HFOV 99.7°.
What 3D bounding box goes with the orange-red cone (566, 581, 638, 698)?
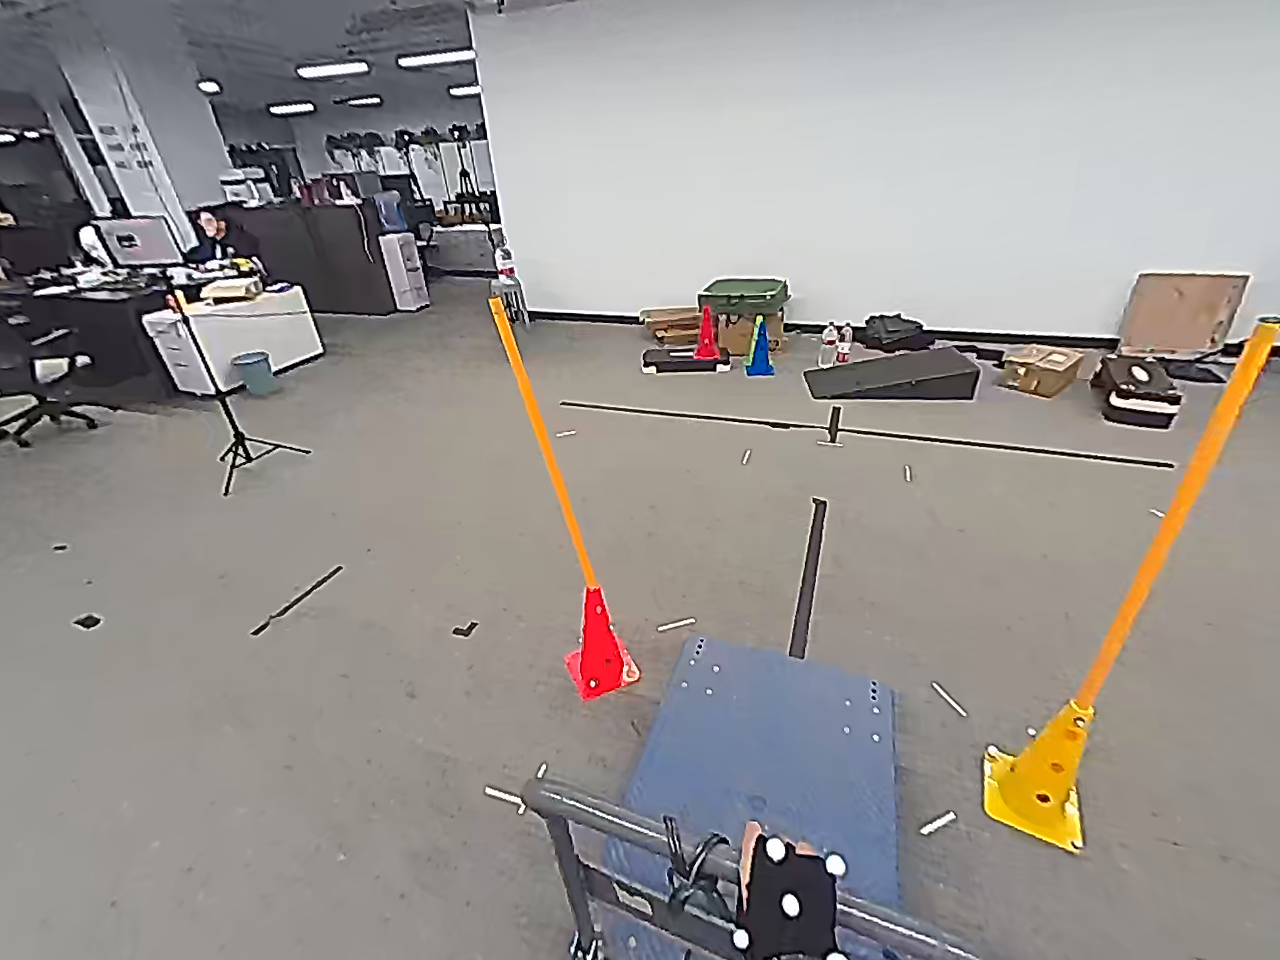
[{"bbox_3d":[-0.130,0.456,1.664,0.199,0.360,0.198,-14,34,-21],"label":"orange-red cone"}]
